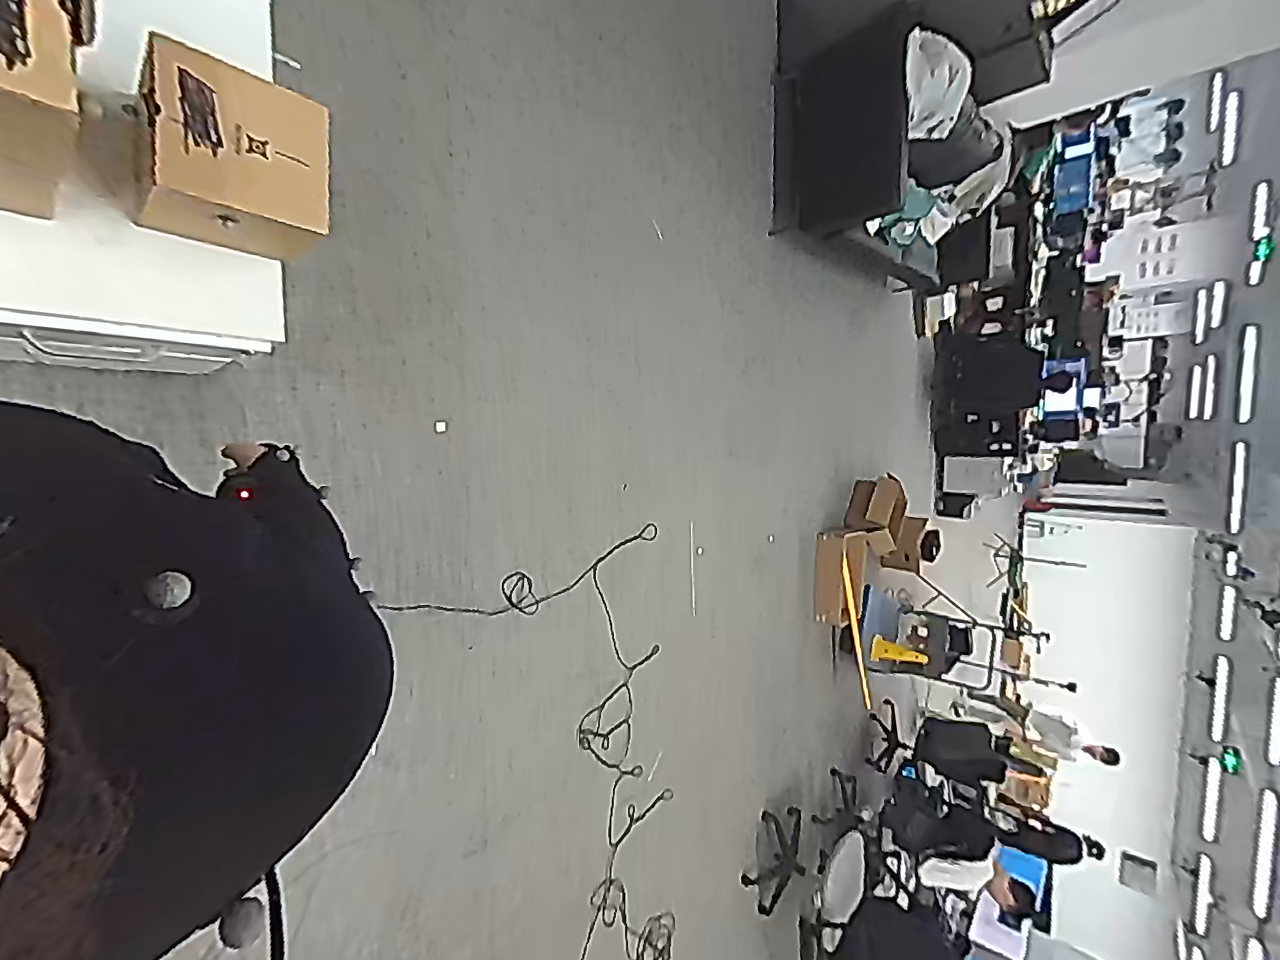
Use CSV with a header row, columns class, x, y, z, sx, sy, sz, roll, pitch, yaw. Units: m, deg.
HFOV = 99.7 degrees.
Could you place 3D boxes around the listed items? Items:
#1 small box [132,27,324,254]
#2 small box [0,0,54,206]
class,x,y,z,sx,sy,sz,roll,pitch,yaw
small box,-0.532,-0.412,0.699,0.179,0.176,0.168,-1,94,-48
small box,-0.694,-0.388,0.516,0.179,0.176,0.168,-4,96,-50
